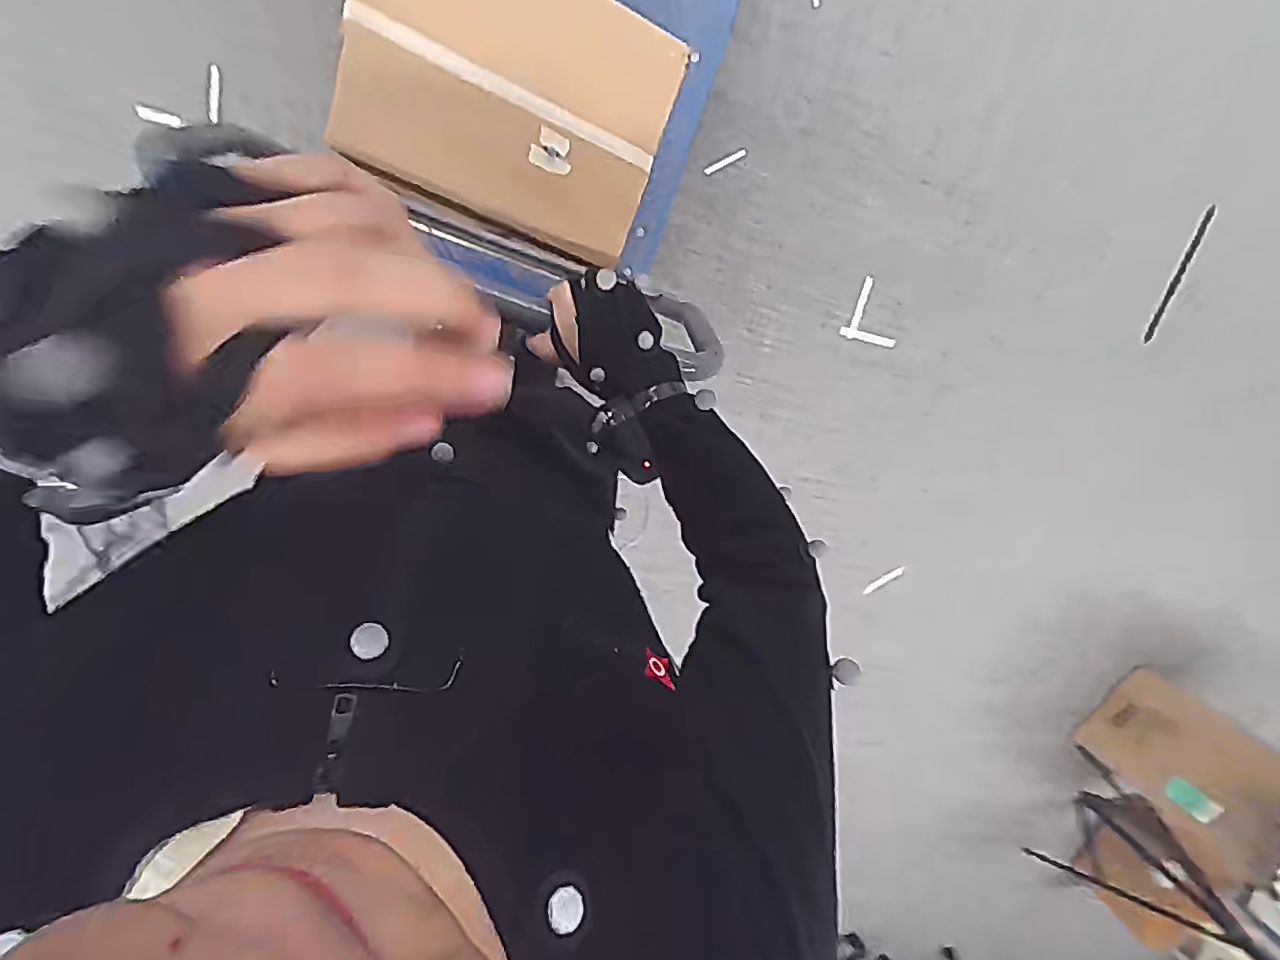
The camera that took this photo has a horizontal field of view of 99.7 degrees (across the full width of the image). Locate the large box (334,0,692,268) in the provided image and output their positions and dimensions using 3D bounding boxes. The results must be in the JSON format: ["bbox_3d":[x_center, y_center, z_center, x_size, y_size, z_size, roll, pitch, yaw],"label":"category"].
[{"bbox_3d":[-0.196,-0.564,0.850,0.408,0.320,0.320,17,105,-20],"label":"large box"}]
